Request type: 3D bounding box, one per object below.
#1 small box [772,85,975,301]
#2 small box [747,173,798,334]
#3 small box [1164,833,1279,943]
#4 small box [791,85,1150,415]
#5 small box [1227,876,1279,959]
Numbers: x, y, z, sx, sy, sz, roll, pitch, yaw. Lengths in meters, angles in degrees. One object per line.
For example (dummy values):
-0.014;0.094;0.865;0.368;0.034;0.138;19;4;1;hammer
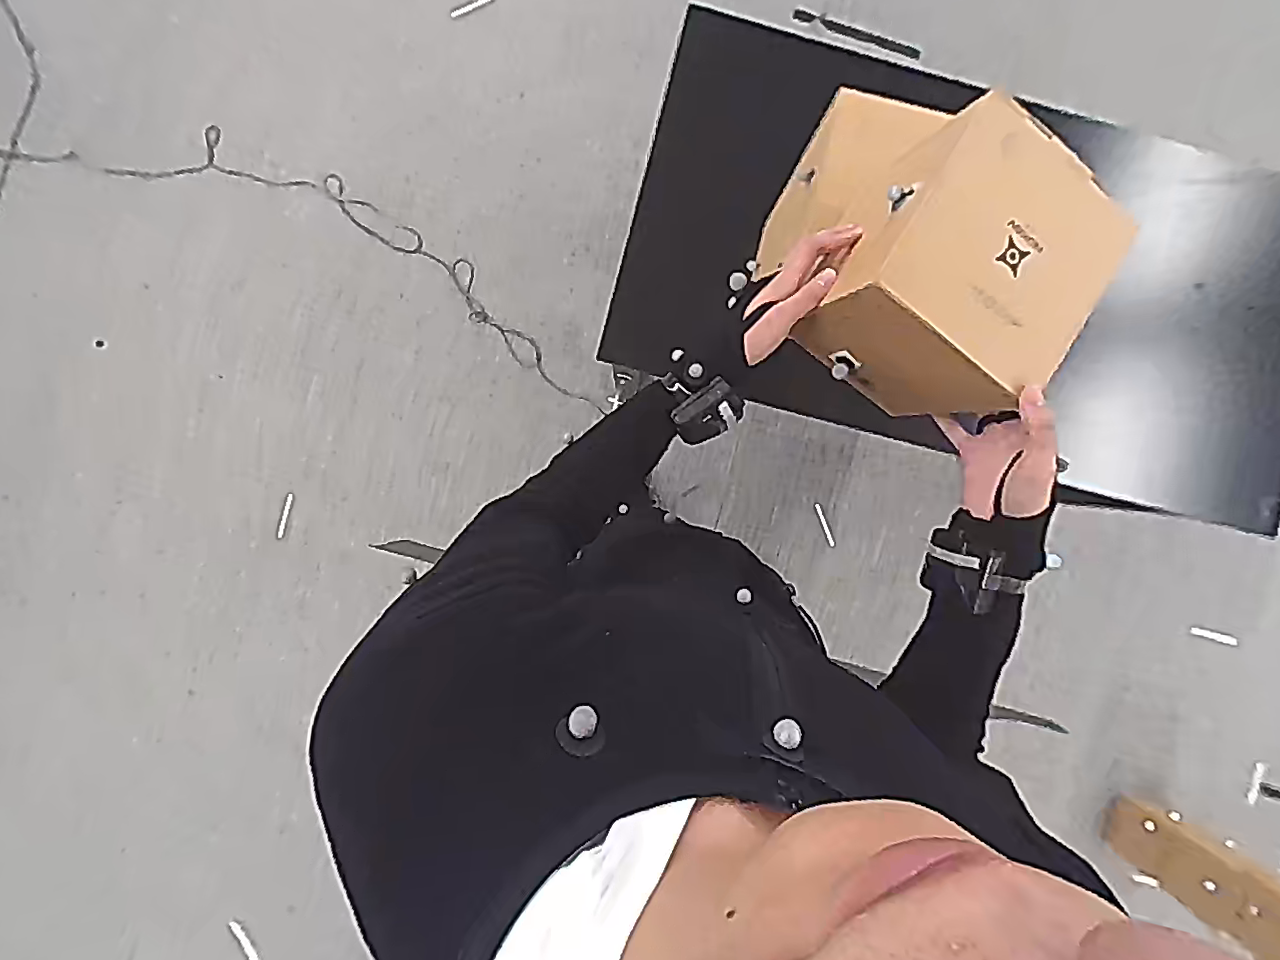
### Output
0.273;-0.316;0.652;0.168;0.176;0.179;14;91;-1;small box
0.269;-0.318;0.817;0.168;0.176;0.179;13;92;-1;small box
1.566;1.089;1.440;0.168;0.176;0.179;15;93;-2;small box
0.265;-0.173;0.472;0.168;0.176;0.179;34;88;-12;small box
1.578;1.087;1.277;0.179;0.176;0.168;17;92;-1;small box
